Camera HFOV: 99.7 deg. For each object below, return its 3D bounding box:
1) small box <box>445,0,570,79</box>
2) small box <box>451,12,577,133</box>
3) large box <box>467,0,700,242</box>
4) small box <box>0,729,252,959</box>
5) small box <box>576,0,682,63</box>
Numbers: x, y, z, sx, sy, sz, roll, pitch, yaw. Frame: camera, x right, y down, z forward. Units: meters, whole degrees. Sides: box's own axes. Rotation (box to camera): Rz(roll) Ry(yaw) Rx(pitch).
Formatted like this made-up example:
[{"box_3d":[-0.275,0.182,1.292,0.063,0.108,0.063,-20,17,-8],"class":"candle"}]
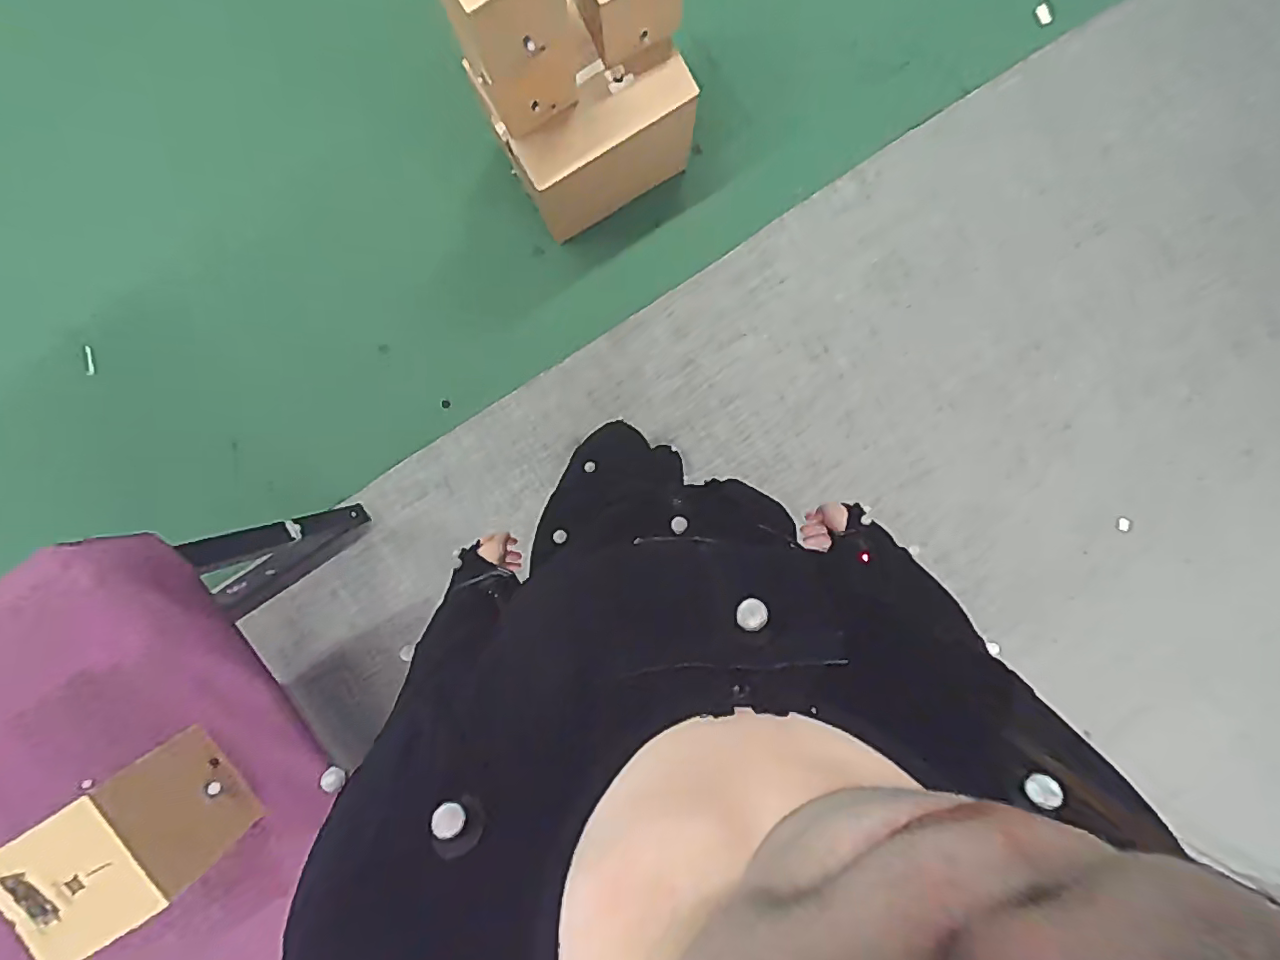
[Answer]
[{"box_3d":[-0.232,-0.812,0.871,0.168,0.176,0.179,-32,93,2],"class":"small box"},{"box_3d":[-0.236,-0.822,1.036,0.168,0.176,0.179,-31,93,1],"class":"small box"},{"box_3d":[-0.120,-0.849,1.277,0.408,0.320,0.320,-31,94,1],"class":"large box"},{"box_3d":[-0.668,0.467,0.701,0.179,0.176,0.168,-32,94,2],"class":"small box"},{"box_3d":[-0.026,-0.955,1.024,0.179,0.176,0.168,-26,93,2],"class":"small box"}]
